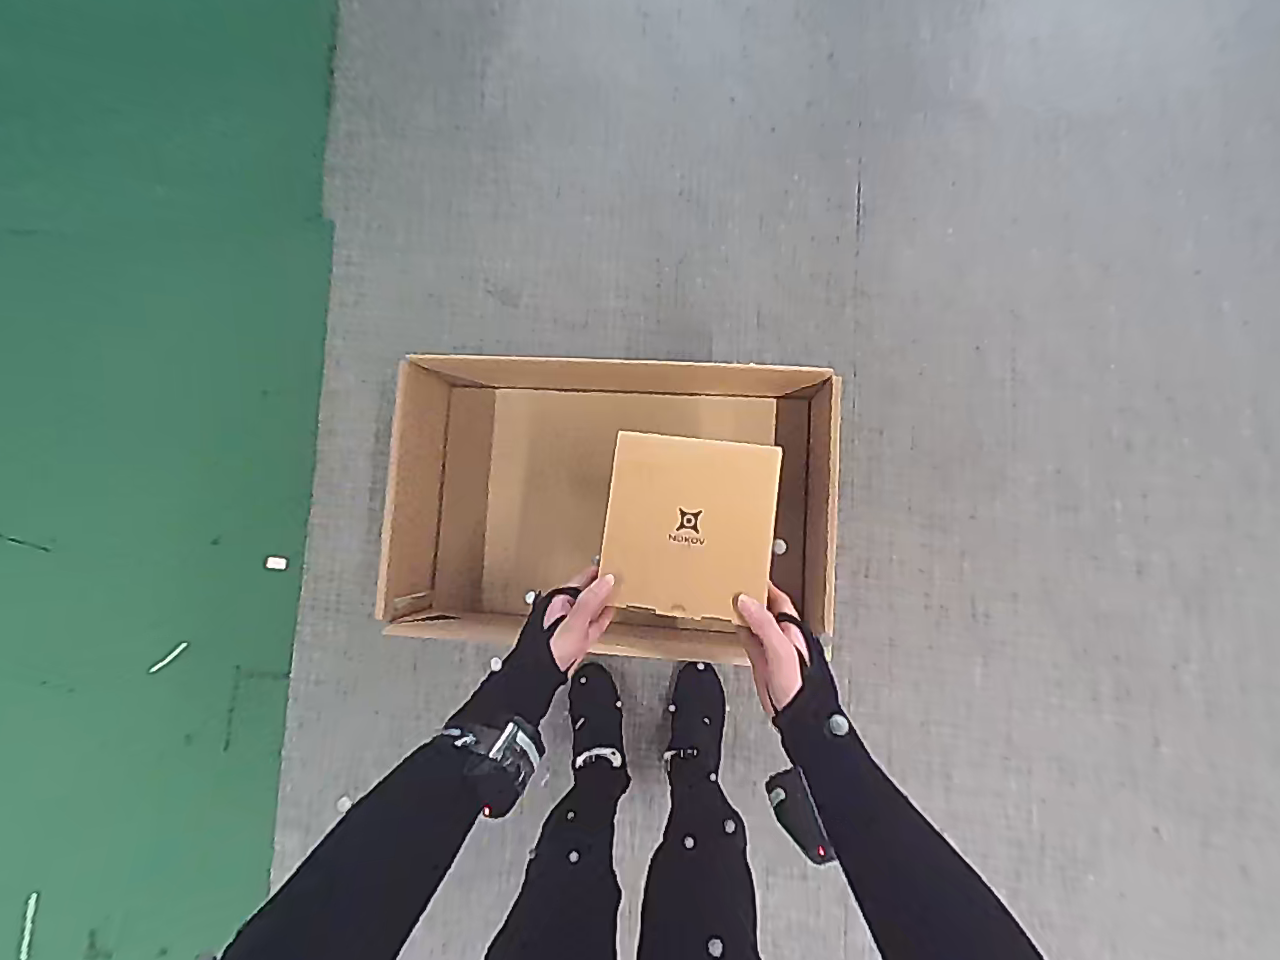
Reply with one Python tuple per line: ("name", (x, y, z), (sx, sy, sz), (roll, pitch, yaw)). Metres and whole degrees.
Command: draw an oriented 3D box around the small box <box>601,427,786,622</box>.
("small box", (0.060, 0.051, 0.610), (0.168, 0.176, 0.179), (7, 84, 7))
